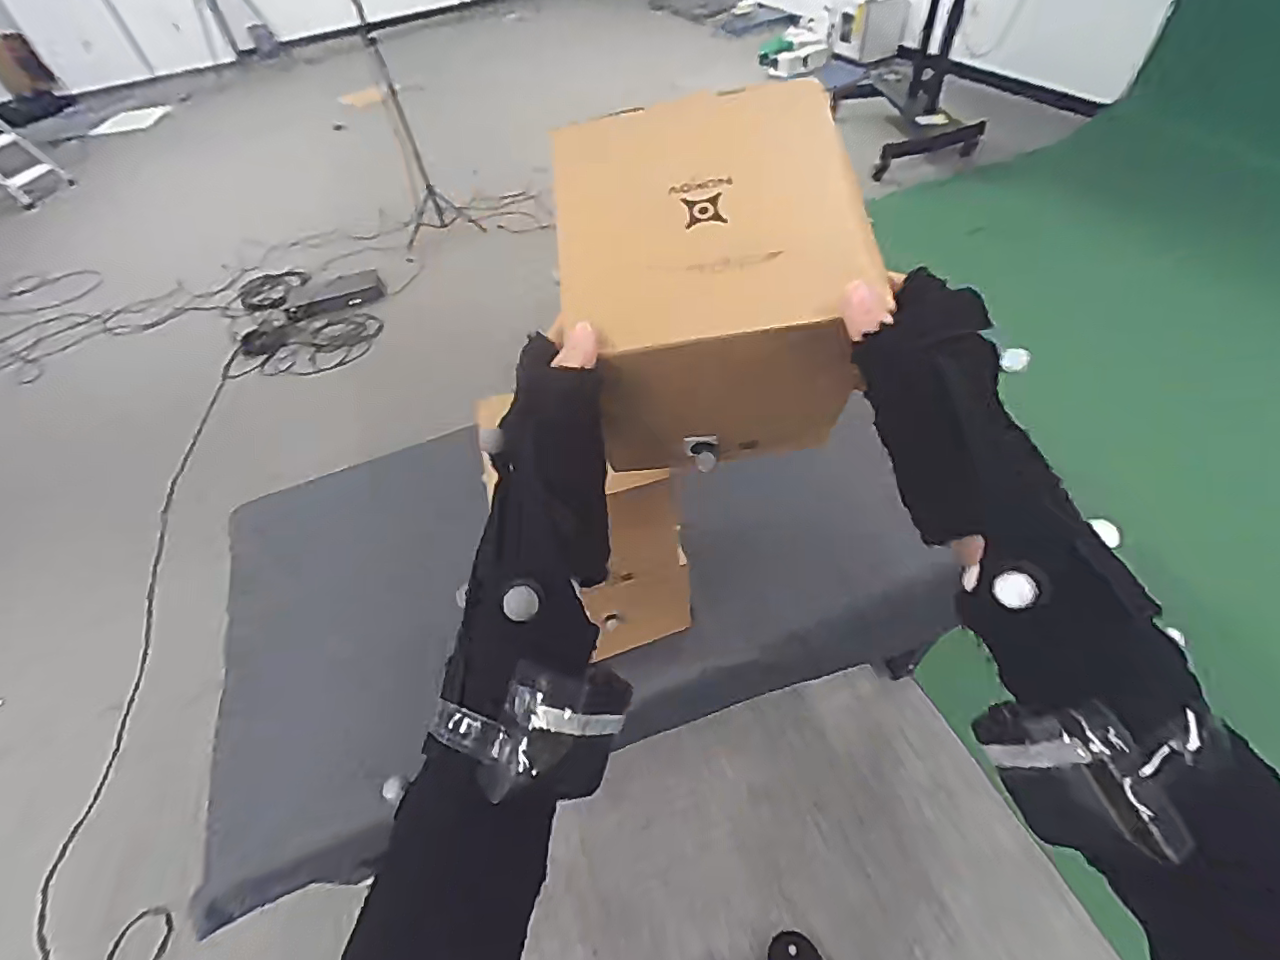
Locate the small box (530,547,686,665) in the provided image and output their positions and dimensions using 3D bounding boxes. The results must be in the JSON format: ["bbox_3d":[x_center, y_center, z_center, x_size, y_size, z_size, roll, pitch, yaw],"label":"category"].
[{"bbox_3d":[-0.047,0.118,0.716,0.179,0.176,0.168,-18,50,-8],"label":"small box"}]

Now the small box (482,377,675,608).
[{"bbox_3d":[-0.064,0.011,0.593,0.168,0.176,0.179,-15,51,-6],"label":"small box"}]

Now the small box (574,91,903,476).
[{"bbox_3d":[0.052,-0.118,0.374,0.168,0.176,0.179,-6,69,5],"label":"small box"}]
